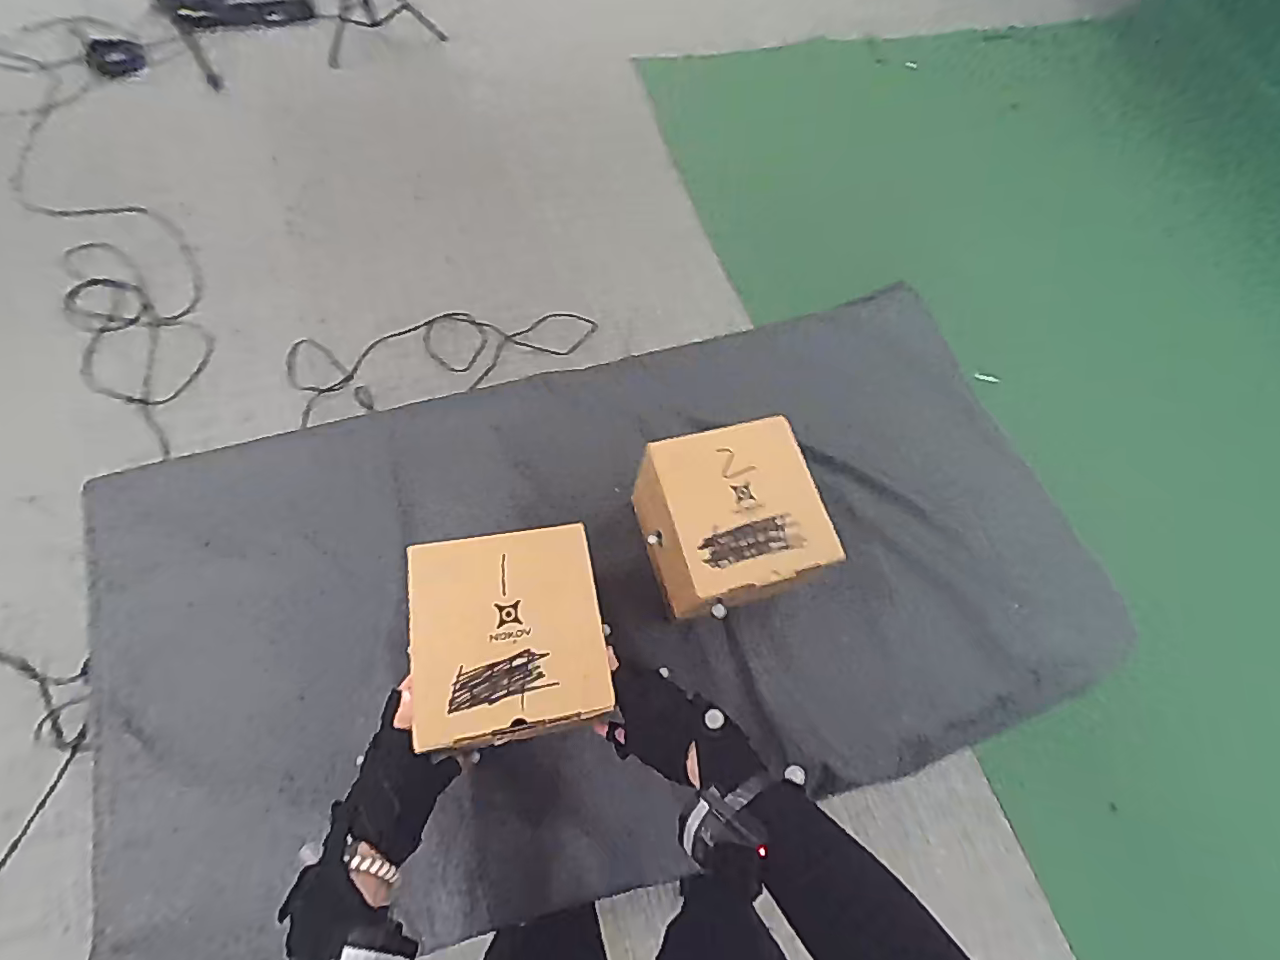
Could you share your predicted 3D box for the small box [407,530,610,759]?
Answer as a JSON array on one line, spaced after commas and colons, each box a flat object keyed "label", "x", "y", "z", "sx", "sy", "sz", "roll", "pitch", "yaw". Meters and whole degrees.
[{"label": "small box", "x": -0.130, "y": 0.169, "z": 0.545, "sx": 0.168, "sy": 0.176, "sz": 0.179, "roll": -6, "pitch": 64, "yaw": -14}]
